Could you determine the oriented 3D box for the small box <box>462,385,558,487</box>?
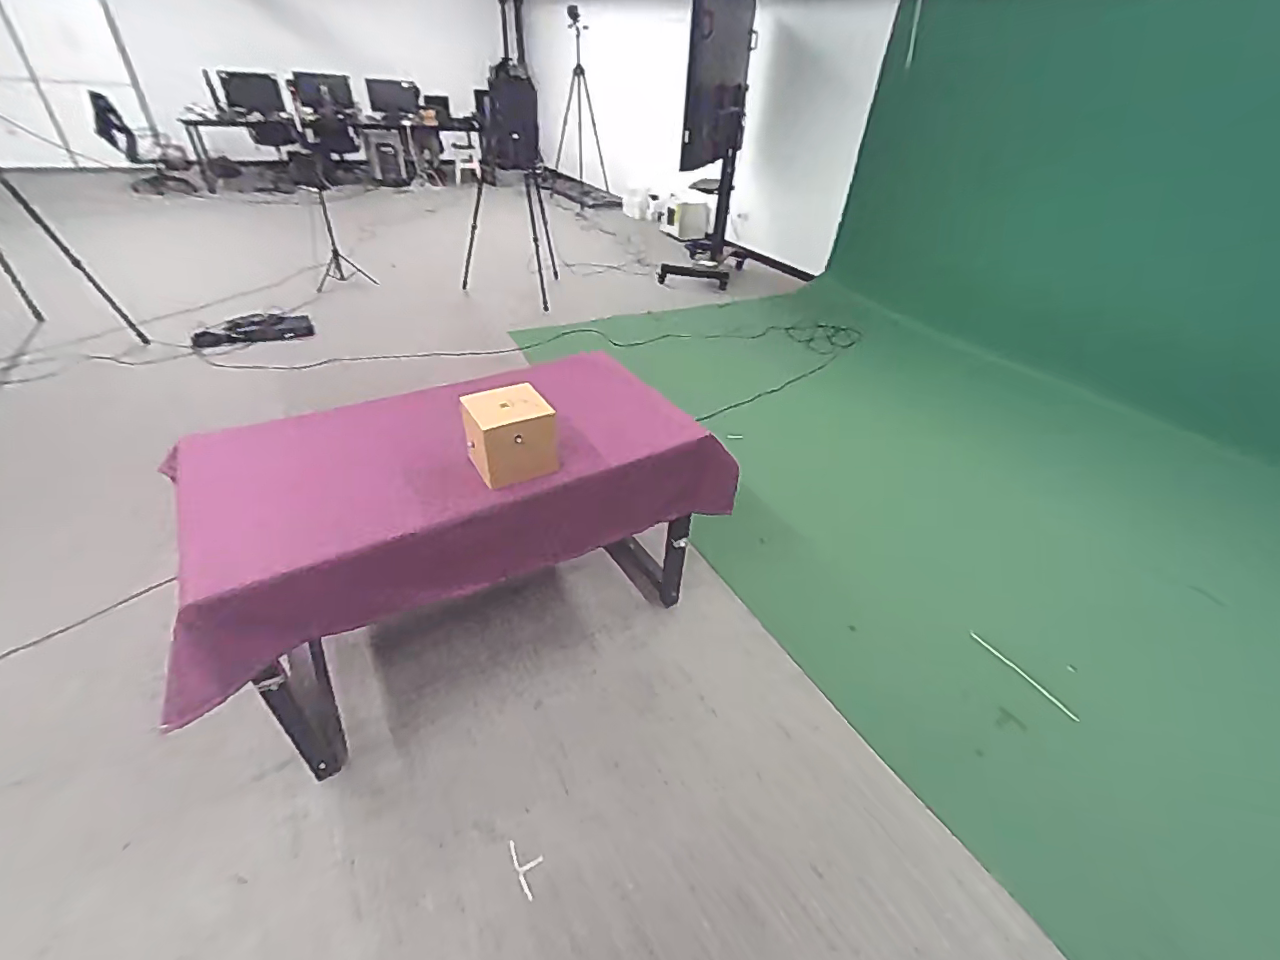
[{"bbox_3d":[-0.305,-0.105,1.293,0.179,0.176,0.168,-18,43,-27],"label":"small box"}]
